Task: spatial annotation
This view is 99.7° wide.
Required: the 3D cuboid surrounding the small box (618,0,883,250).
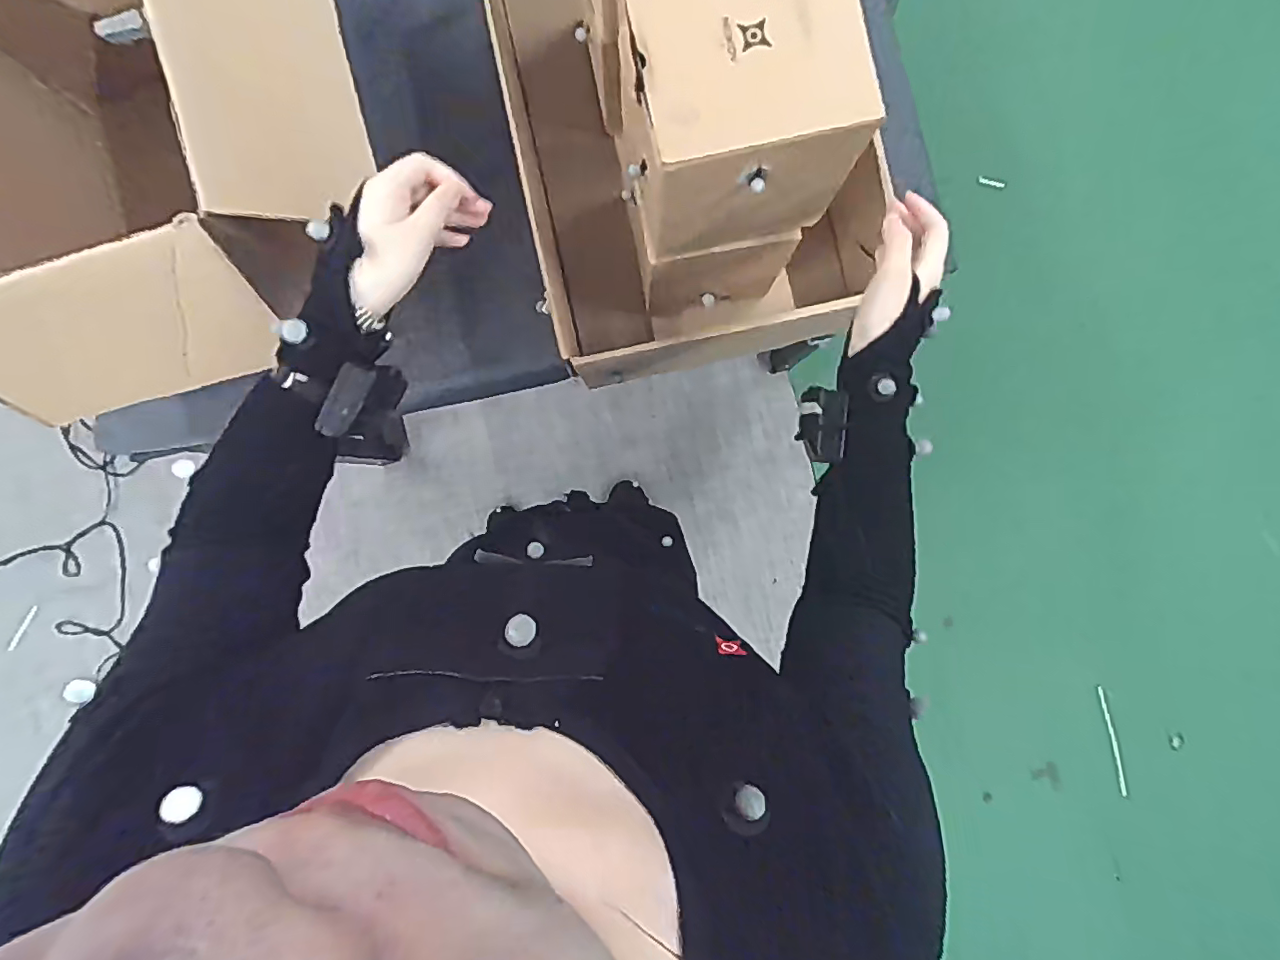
[{"bbox_3d":[0.083,-0.332,0.487,0.179,0.176,0.168,-13,90,-1],"label":"small box"}]
